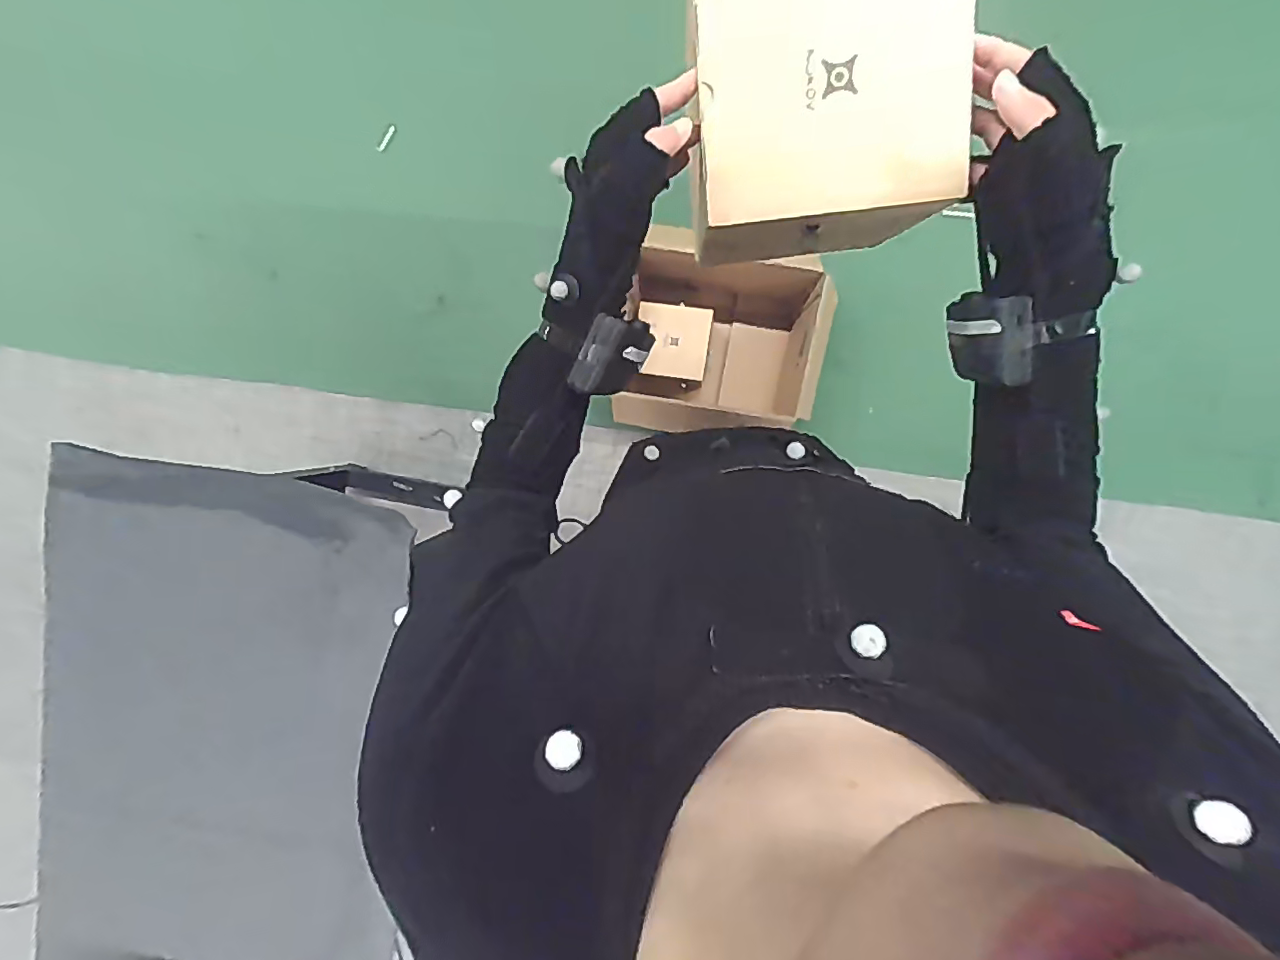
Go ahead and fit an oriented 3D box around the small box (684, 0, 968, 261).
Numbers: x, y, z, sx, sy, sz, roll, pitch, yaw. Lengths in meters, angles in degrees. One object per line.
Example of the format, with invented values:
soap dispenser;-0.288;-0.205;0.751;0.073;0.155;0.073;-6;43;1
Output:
small box;0.127;-0.280;0.428;0.179;0.176;0.168;-4;103;7
